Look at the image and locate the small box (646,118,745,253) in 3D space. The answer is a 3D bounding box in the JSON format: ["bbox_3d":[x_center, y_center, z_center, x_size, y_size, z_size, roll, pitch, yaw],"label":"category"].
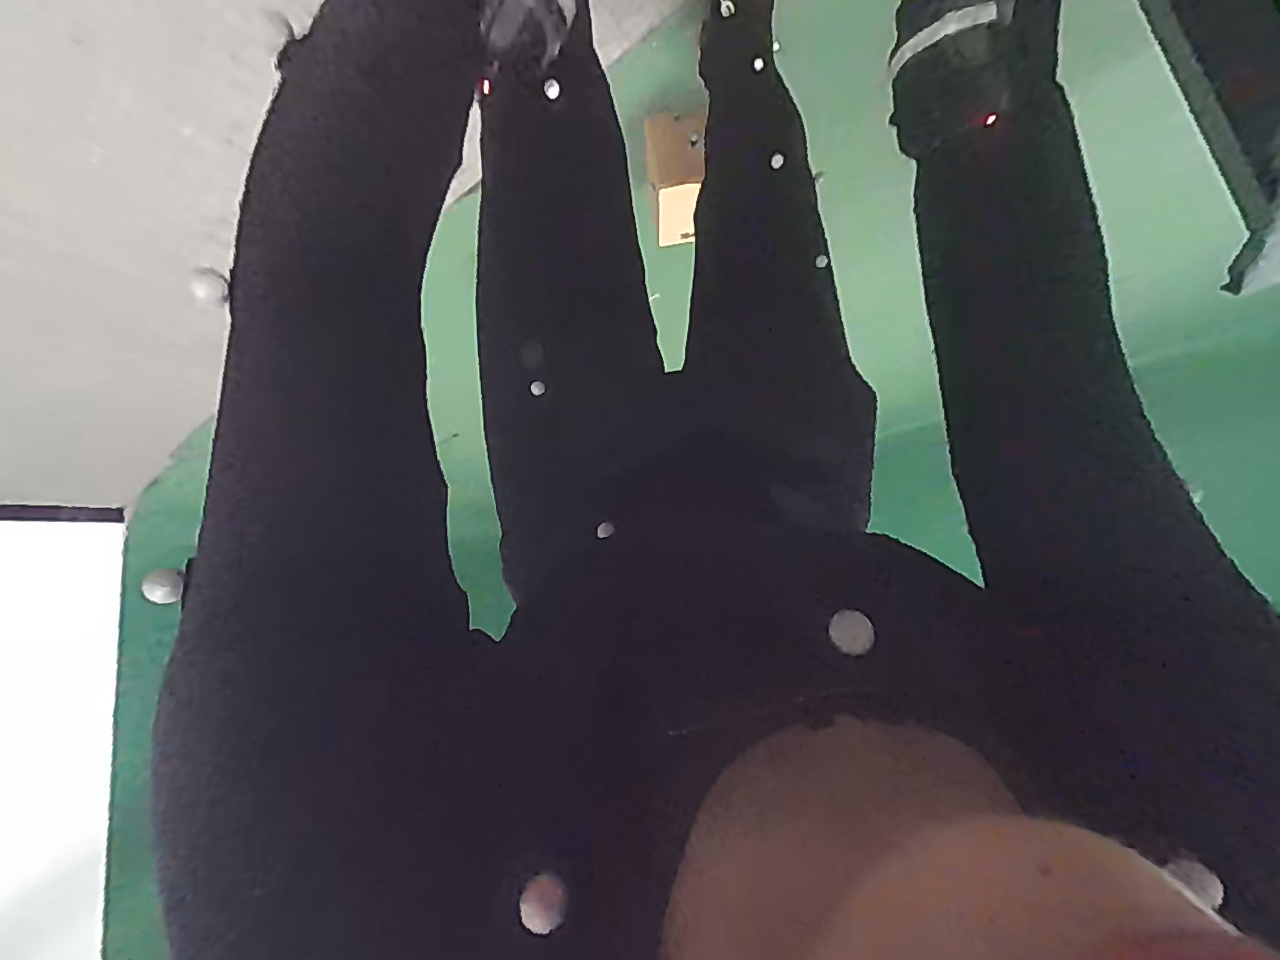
[{"bbox_3d":[0.105,-0.602,1.104,0.168,0.176,0.179,-9,166,-1],"label":"small box"}]
